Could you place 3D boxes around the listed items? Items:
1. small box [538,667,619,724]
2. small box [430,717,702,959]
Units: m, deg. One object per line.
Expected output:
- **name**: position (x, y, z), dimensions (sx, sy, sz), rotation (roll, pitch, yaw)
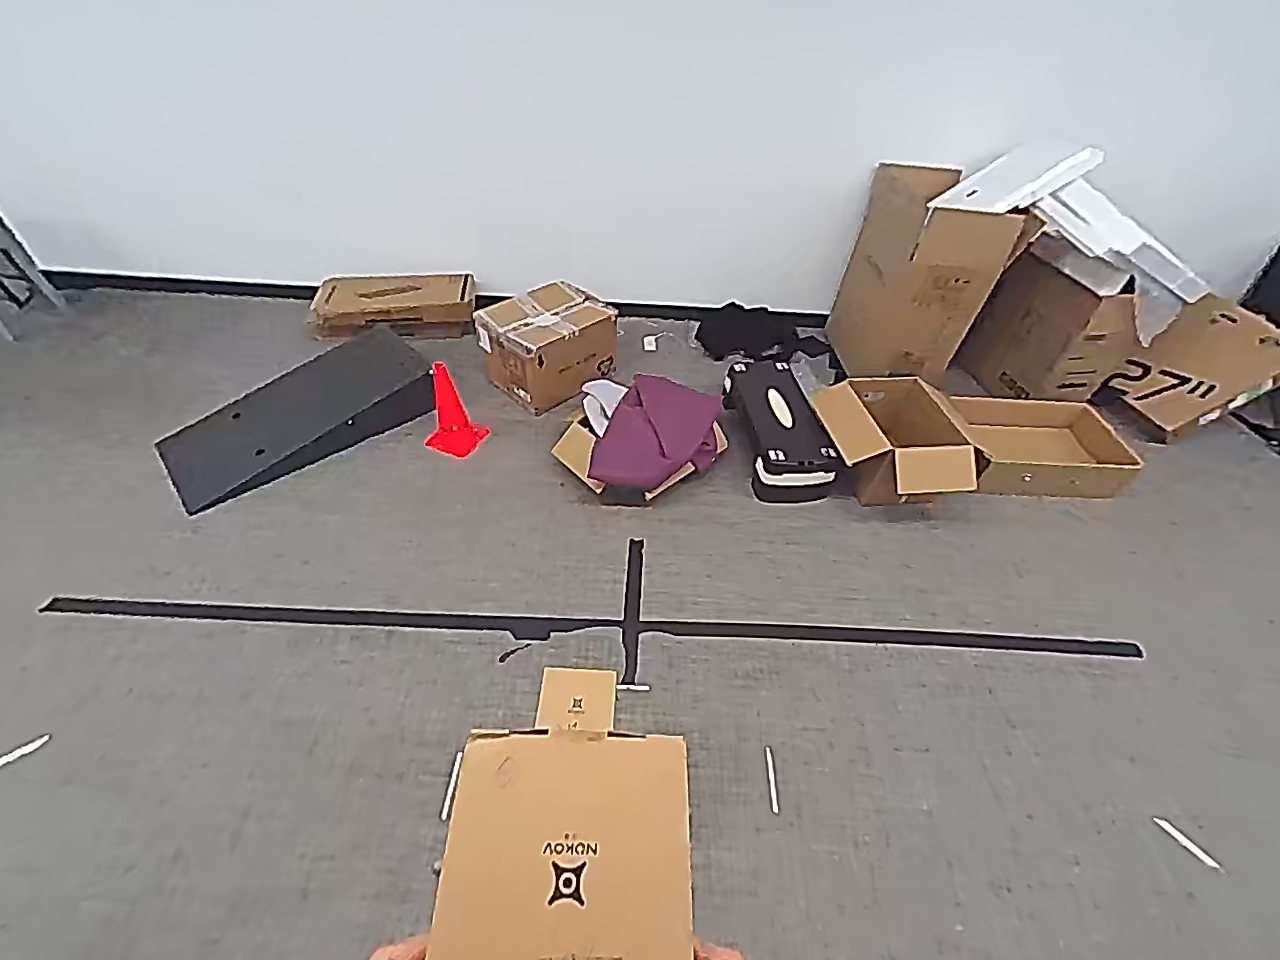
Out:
- **small box**: position (-0.137, 0.542, 1.205), dimensions (0.168, 0.176, 0.179), rotation (3, 46, 0)
- **small box**: position (-0.050, 0.298, 0.416), dimensions (0.168, 0.176, 0.179), rotation (4, 54, -3)
